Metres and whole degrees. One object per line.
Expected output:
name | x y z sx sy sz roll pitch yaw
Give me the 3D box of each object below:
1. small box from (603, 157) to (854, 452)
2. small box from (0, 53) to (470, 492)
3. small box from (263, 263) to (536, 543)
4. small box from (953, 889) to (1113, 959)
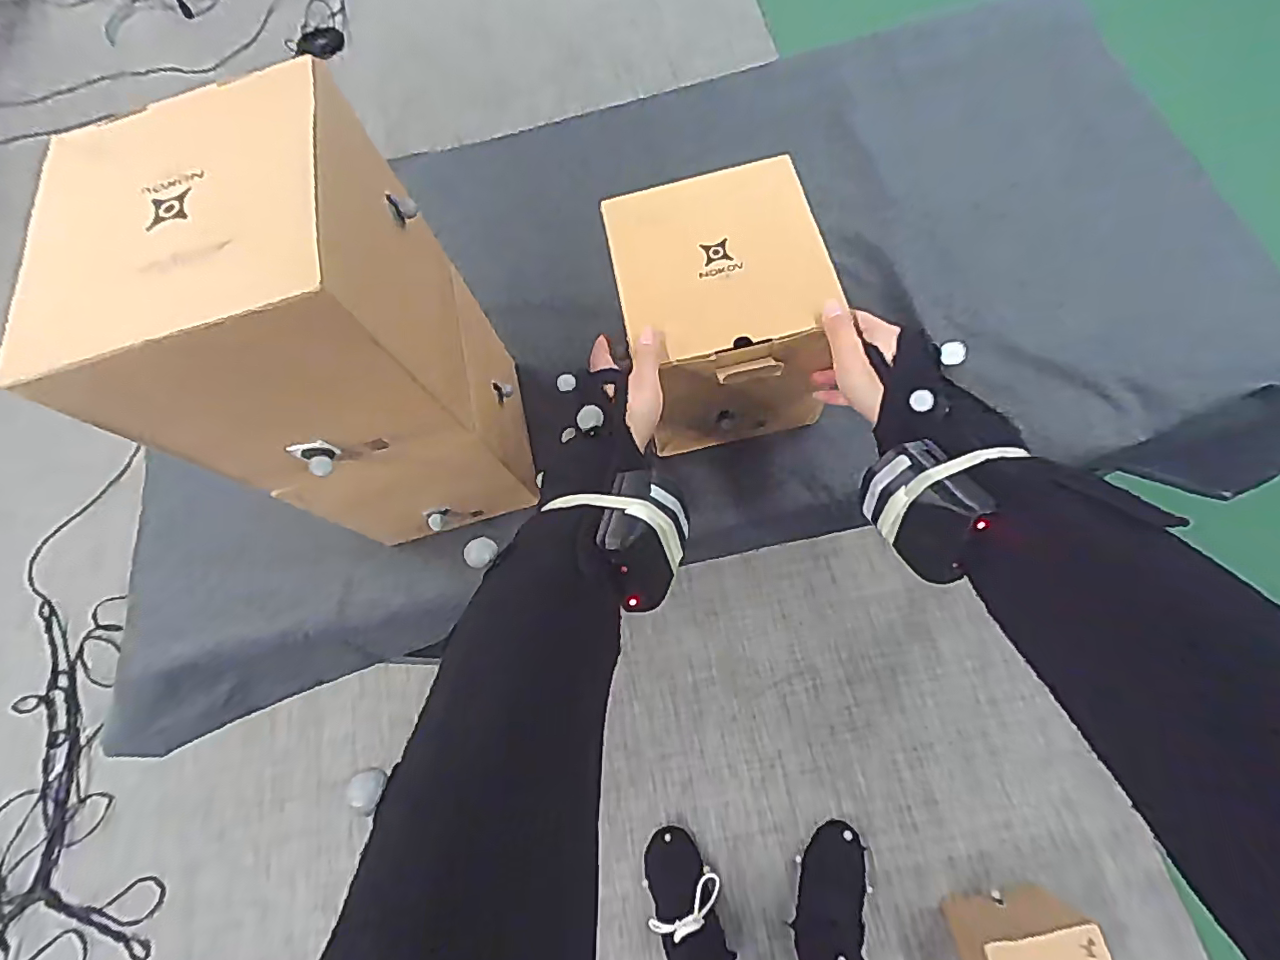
small box | 0.070 -0.148 0.499 0.168 0.176 0.179 -13 69 3
small box | -0.229 -0.114 0.350 0.168 0.176 0.179 -17 69 3
small box | -0.209 -0.059 0.501 0.168 0.176 0.179 -16 69 2
small box | 0.632 0.788 0.860 0.179 0.176 0.168 -14 69 4
